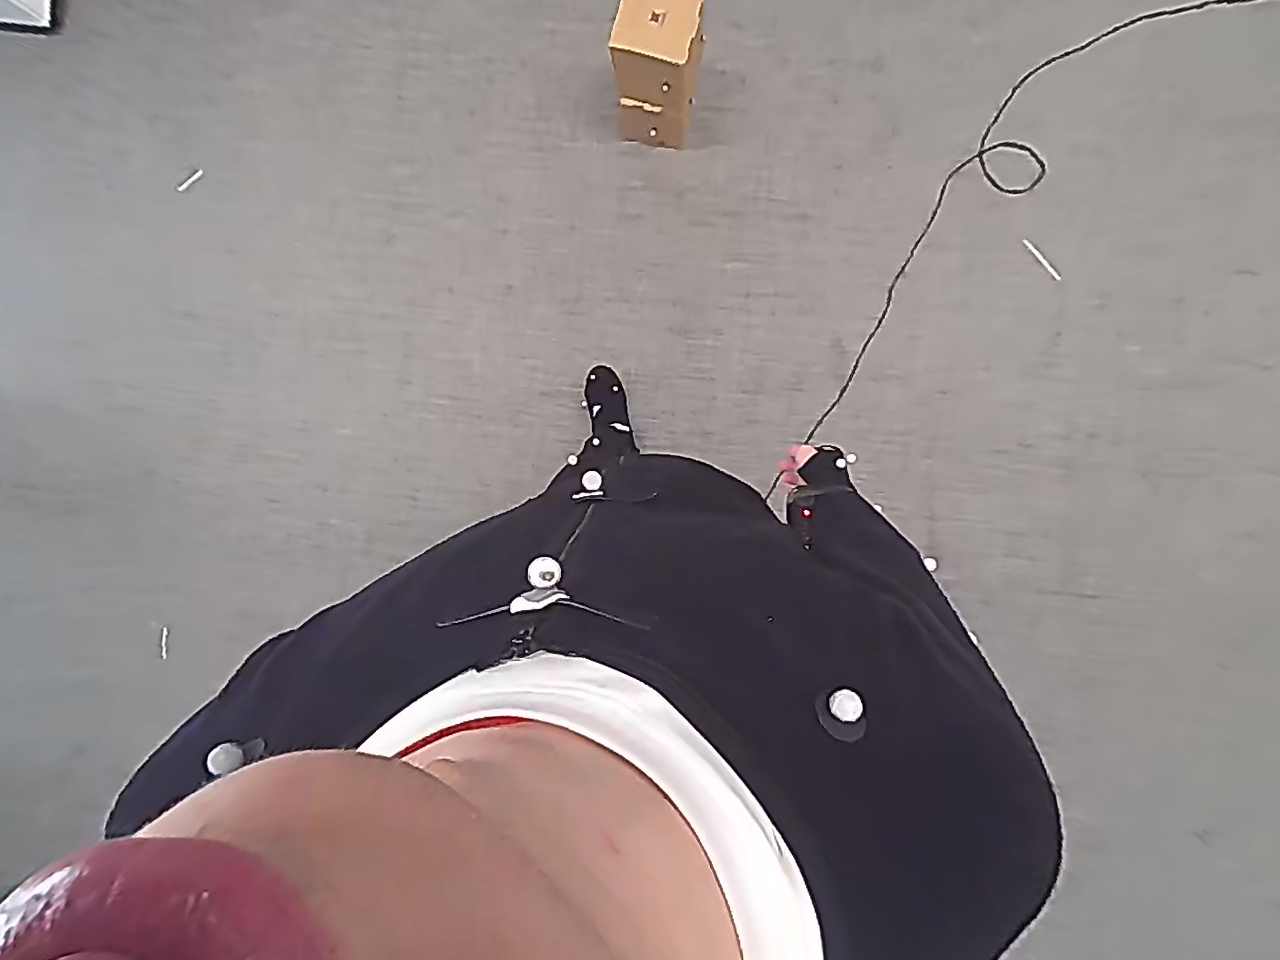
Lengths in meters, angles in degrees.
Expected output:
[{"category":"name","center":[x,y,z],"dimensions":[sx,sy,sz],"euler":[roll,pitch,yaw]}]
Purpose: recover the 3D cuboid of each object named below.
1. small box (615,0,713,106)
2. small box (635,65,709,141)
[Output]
[{"category":"small box","center":[0.060,-1.002,1.238],"dimensions":[0.179,0.176,0.168],"euler":[19,94,5]},{"category":"small box","center":[0.073,-1.019,1.391],"dimensions":[0.179,0.176,0.168],"euler":[-17,91,8]}]
